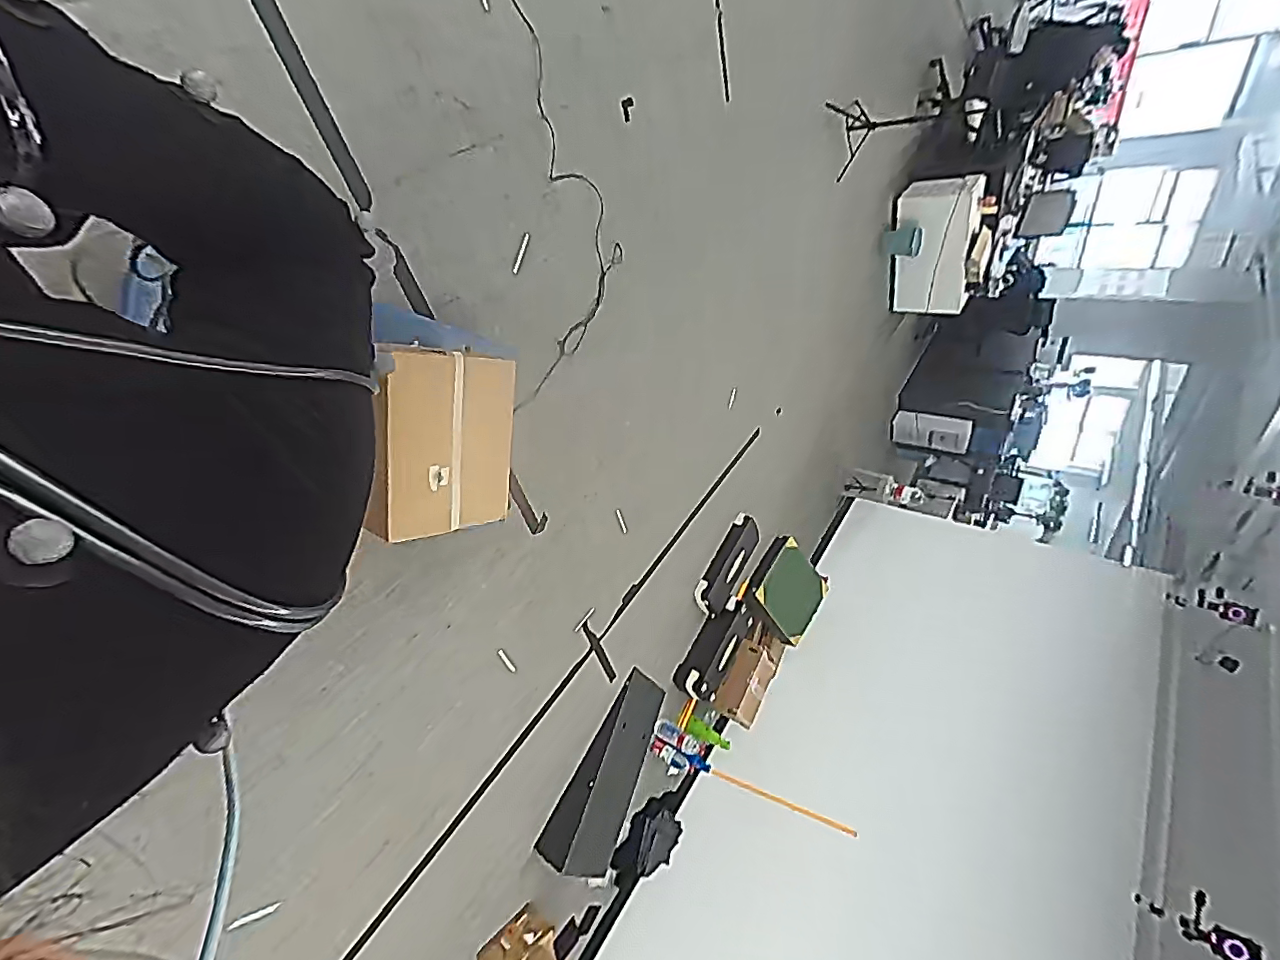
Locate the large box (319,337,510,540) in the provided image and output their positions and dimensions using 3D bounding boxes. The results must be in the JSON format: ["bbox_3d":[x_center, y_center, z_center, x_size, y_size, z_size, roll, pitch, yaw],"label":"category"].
[{"bbox_3d":[-0.538,-0.117,1.294,0.320,0.320,0.408,-10,112,-50],"label":"large box"}]
